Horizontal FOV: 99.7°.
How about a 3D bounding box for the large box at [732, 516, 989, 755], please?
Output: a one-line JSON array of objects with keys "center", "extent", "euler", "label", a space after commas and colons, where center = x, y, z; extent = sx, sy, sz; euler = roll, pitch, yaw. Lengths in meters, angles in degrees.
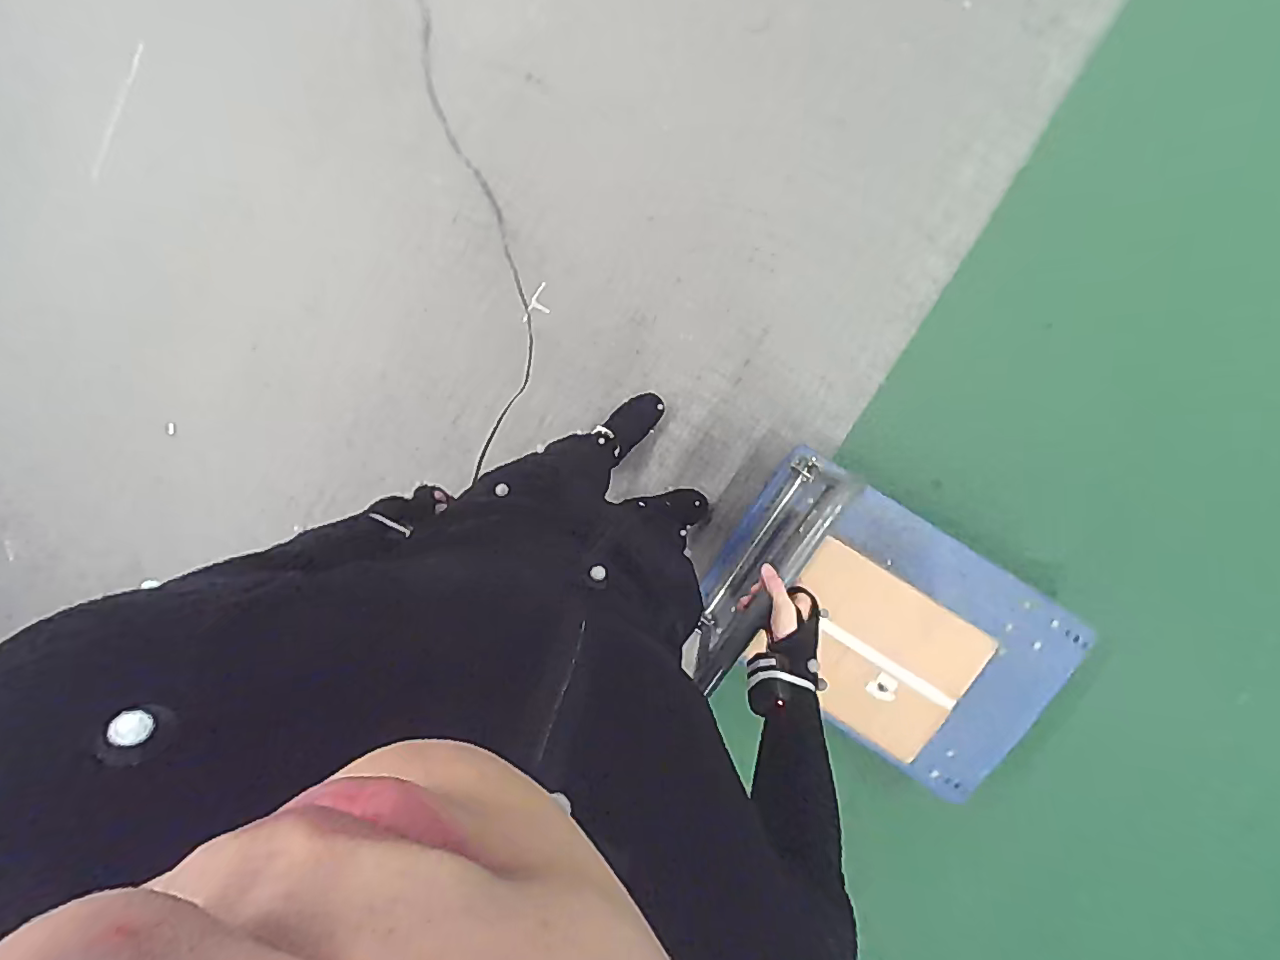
[{"center": [0.471, 0.329, 1.259], "extent": [0.408, 0.320, 0.320], "euler": [33, 98, 3], "label": "large box"}]
